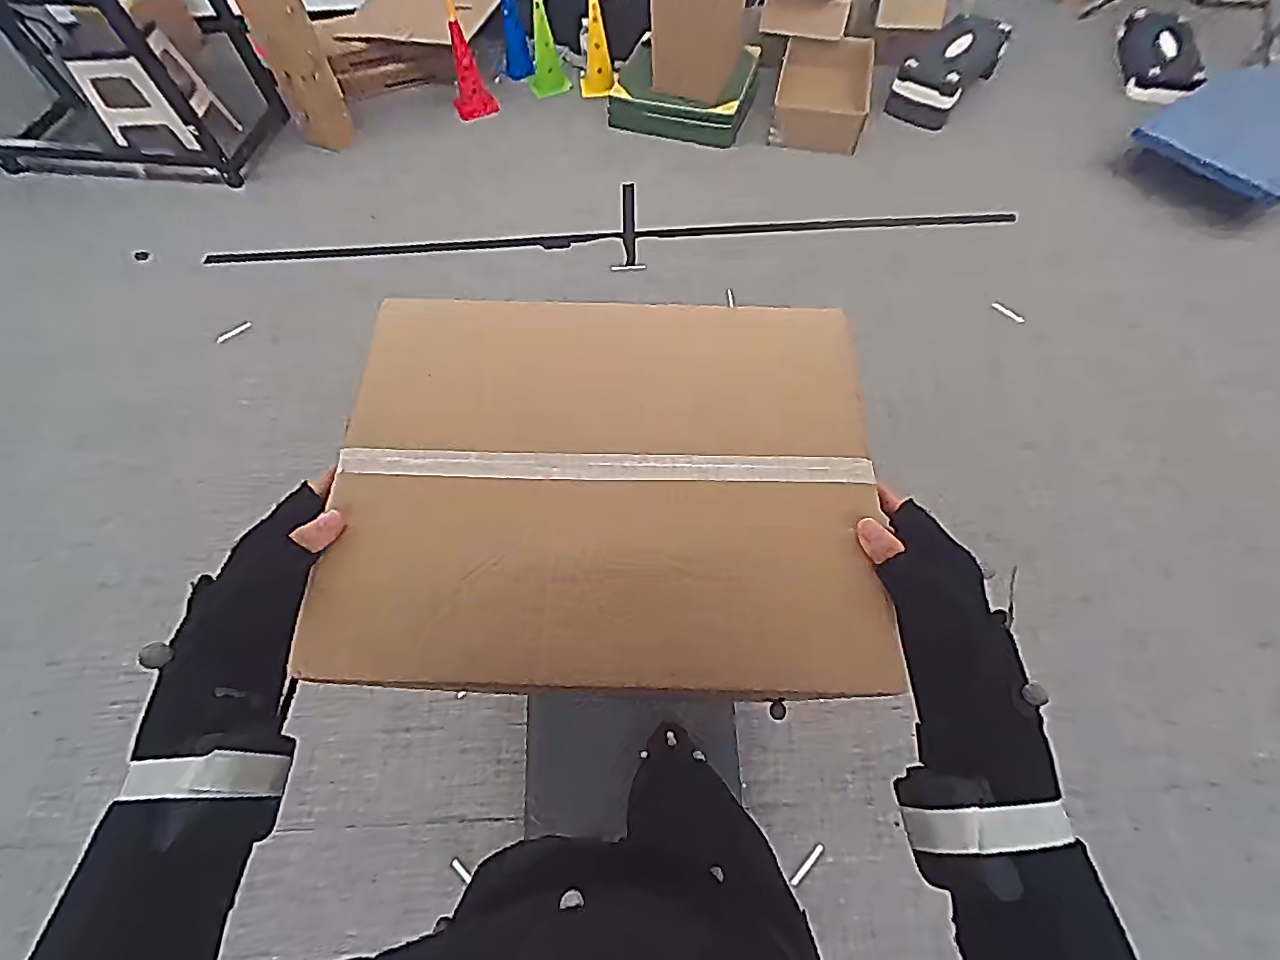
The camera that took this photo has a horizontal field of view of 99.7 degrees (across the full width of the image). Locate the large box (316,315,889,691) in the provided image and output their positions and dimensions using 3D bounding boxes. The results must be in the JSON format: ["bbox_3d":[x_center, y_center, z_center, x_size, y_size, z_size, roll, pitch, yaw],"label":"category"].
[{"bbox_3d":[-0.023,0.051,0.563,0.408,0.320,0.320,1,67,0],"label":"large box"}]
